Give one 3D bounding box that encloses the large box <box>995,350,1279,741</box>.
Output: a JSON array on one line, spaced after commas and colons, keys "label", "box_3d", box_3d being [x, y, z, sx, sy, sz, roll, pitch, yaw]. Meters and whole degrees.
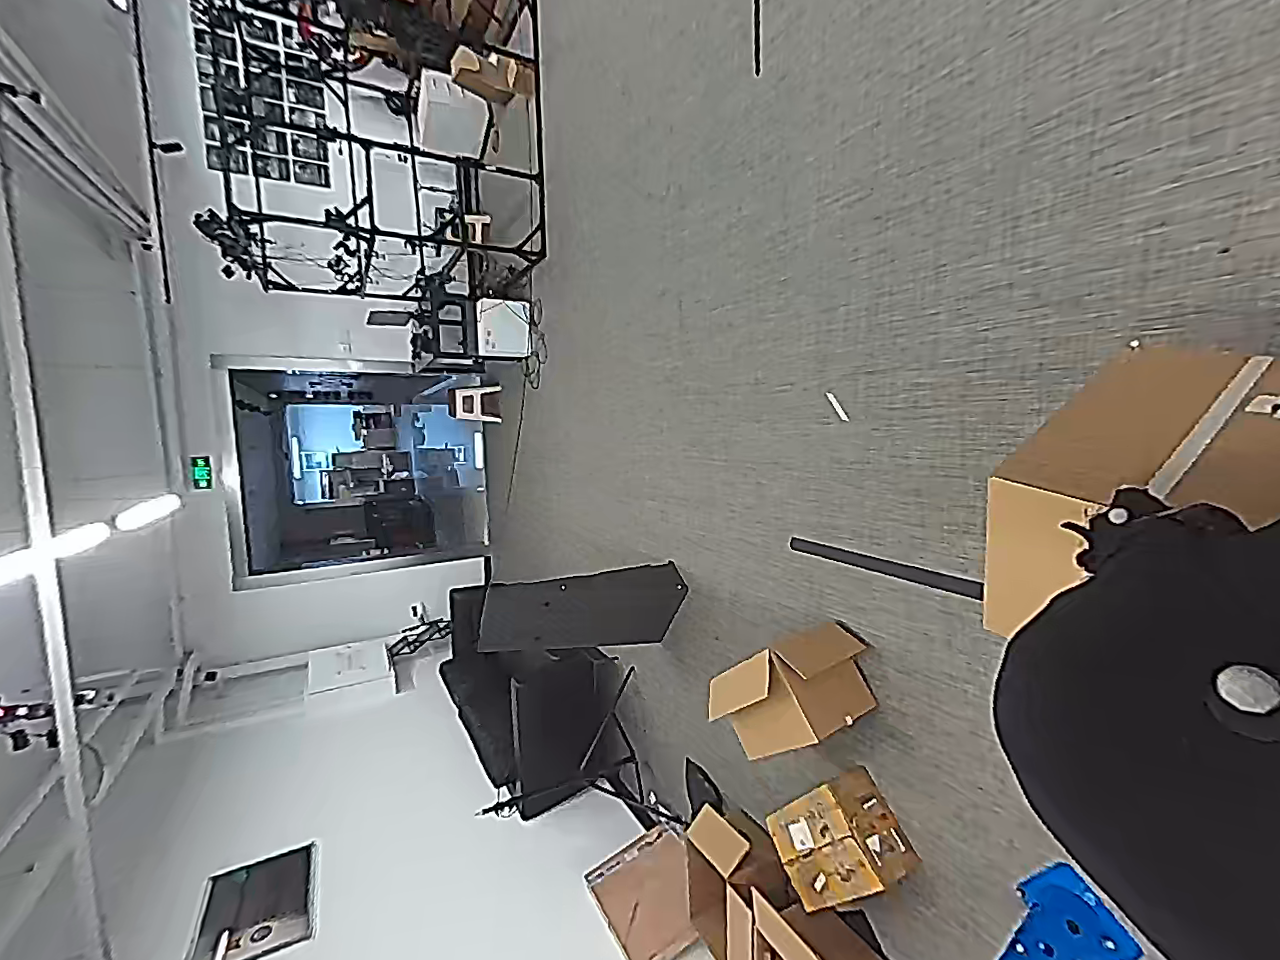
[{"label": "large box", "box_3d": [0.760, 0.055, 0.756, 0.320, 0.408, 0.320, 29, 146, 52]}]
